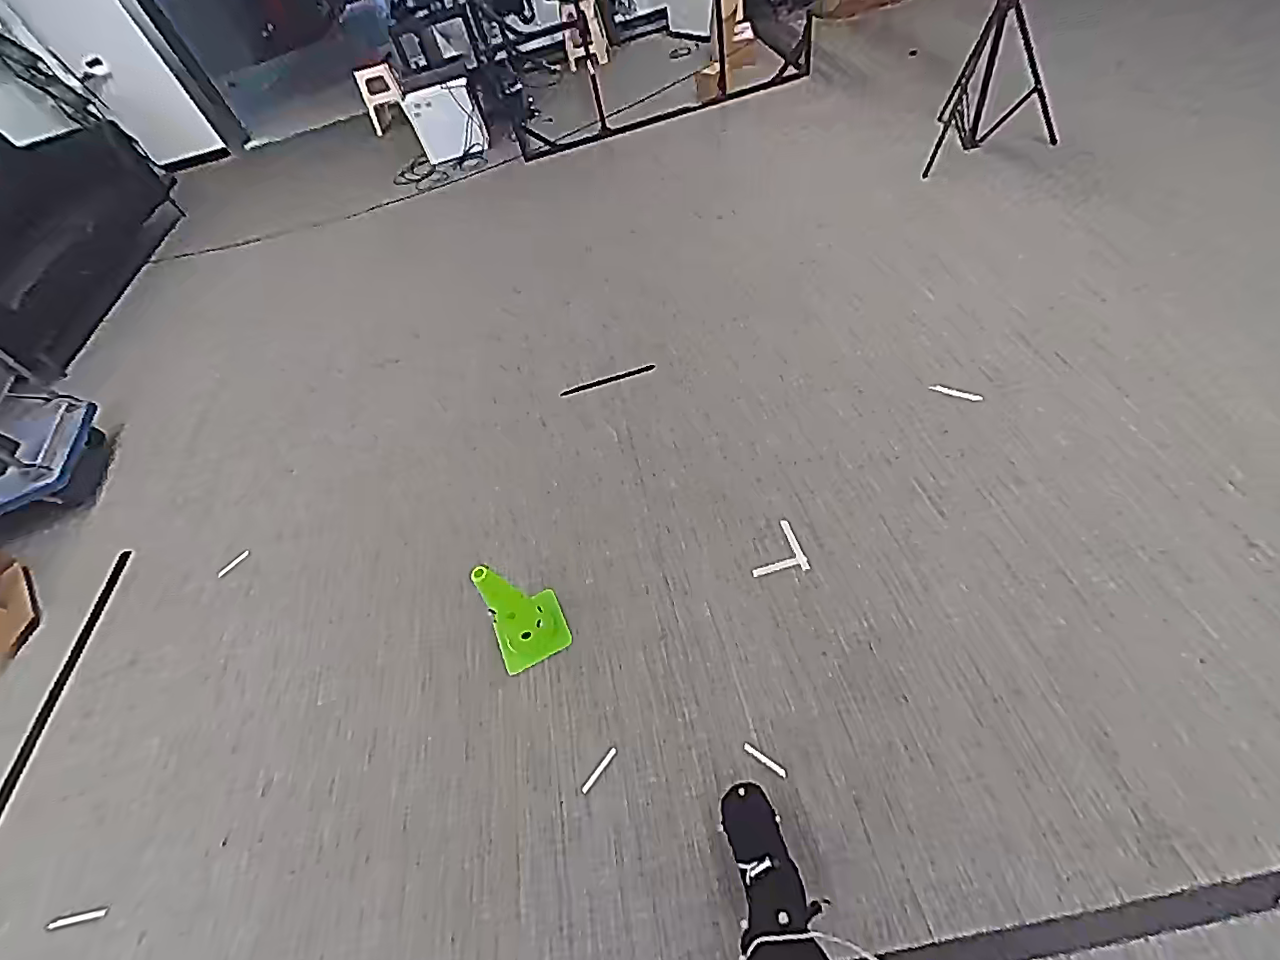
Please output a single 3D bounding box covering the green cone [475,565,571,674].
[{"bbox_3d":[-0.348,0.333,1.433,0.202,0.368,0.200,-27,52,-8],"label":"green cone"}]
